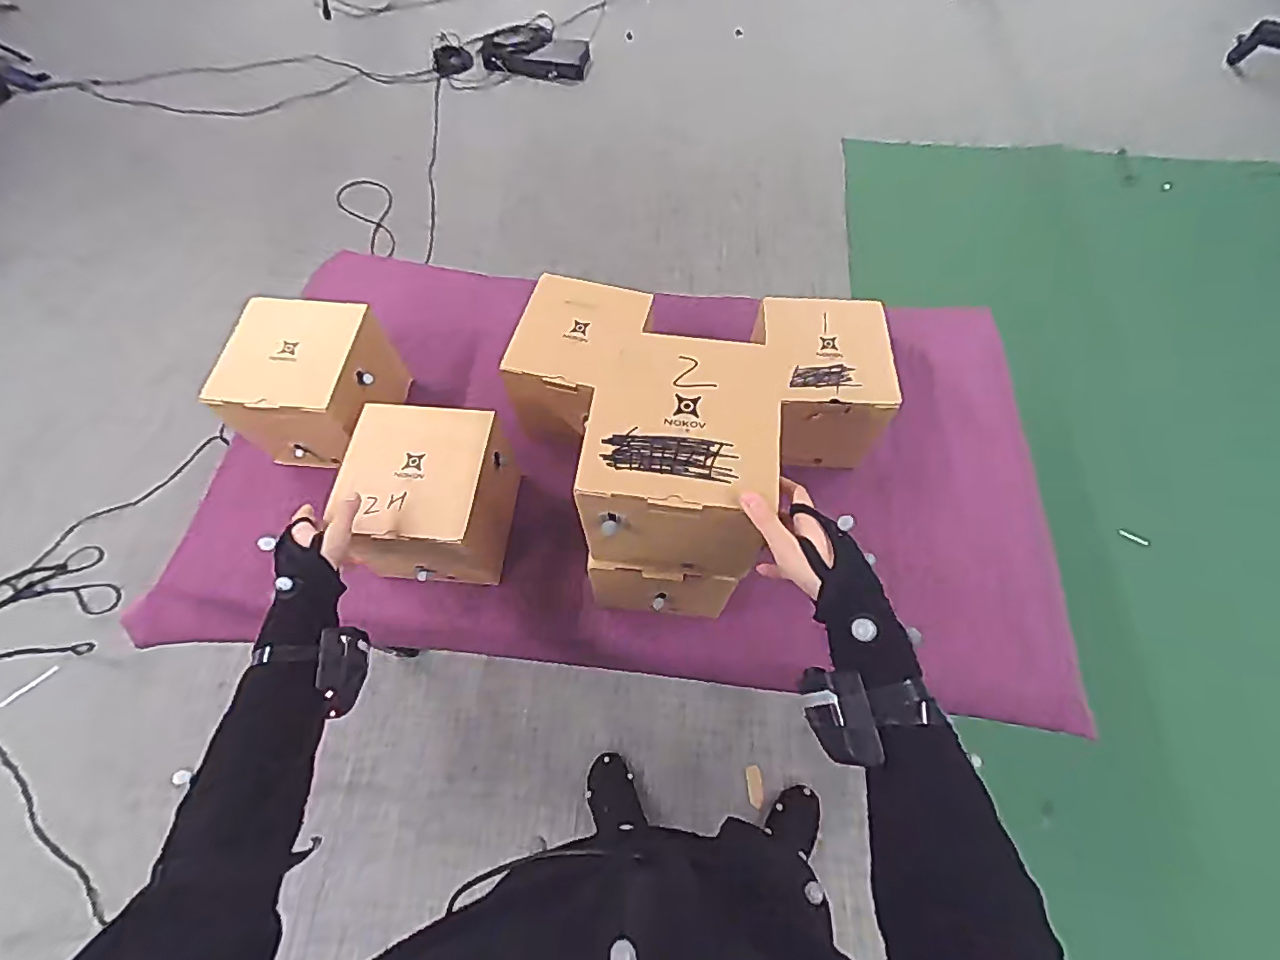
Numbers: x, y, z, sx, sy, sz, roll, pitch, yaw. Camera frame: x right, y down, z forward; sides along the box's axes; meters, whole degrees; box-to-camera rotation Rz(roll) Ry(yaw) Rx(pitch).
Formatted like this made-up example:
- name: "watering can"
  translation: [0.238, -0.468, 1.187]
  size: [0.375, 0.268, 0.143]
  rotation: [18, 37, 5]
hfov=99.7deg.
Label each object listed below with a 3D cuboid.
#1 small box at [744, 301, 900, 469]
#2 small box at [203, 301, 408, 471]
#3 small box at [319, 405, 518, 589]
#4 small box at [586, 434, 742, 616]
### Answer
- name: "small box"
  translation: [0.245, -0.129, 0.773]
  size: [0.168, 0.176, 0.179]
  rotation: [3, 62, 2]
- name: "small box"
  translation: [-0.458, -0.128, 0.779]
  size: [0.168, 0.176, 0.179]
  rotation: [4, 64, 2]
- name: "small box"
  translation: [-0.264, 0.026, 0.697]
  size: [0.168, 0.176, 0.179]
  rotation: [4, 63, 3]
- name: "small box"
  translation: [0.032, 0.064, 0.678]
  size: [0.168, 0.176, 0.179]
  rotation: [5, 63, 3]
